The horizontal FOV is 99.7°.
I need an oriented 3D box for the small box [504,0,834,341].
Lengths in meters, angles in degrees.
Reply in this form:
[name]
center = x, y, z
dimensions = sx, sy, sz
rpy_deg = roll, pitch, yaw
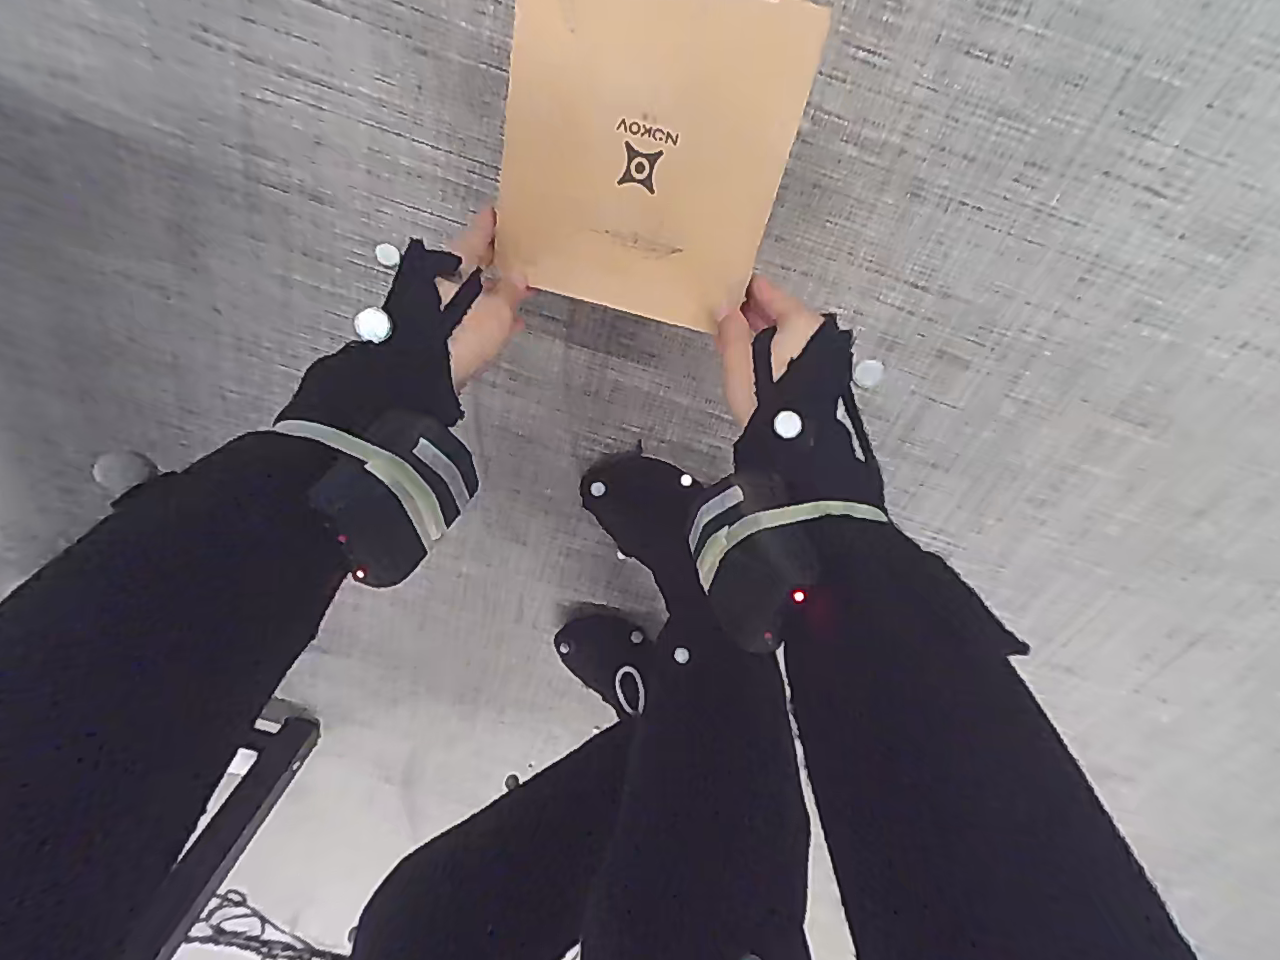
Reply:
[small box]
center = 0.015, -0.224, 0.392
dimensions = 0.168, 0.176, 0.179
rpy_deg = 15, 120, 0
